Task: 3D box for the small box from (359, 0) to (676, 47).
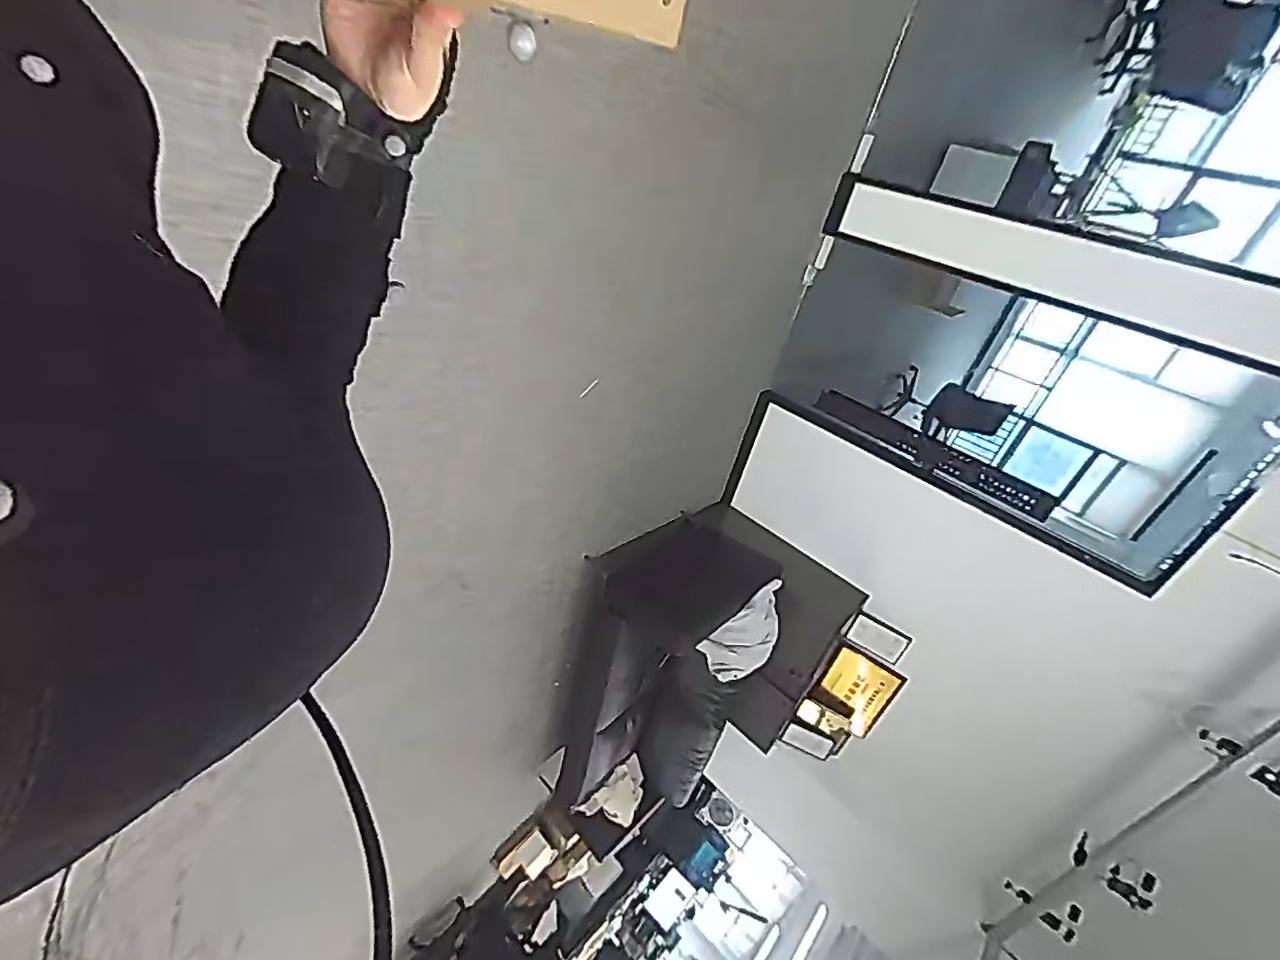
[{"bbox_3d":[-0.083,-0.283,0.192,0.168,0.176,0.179,-47,154,-48],"label":"small box"}]
